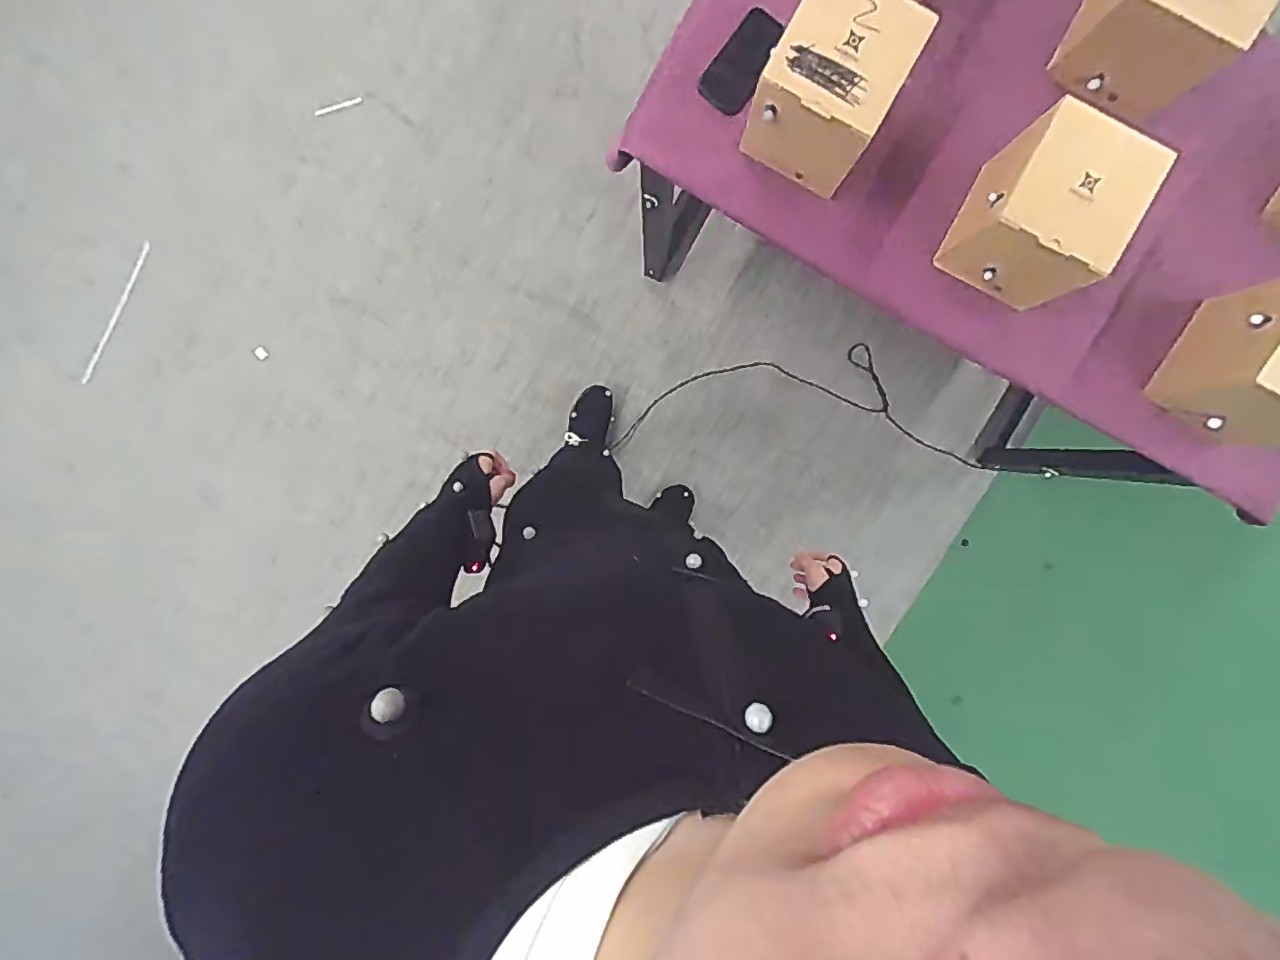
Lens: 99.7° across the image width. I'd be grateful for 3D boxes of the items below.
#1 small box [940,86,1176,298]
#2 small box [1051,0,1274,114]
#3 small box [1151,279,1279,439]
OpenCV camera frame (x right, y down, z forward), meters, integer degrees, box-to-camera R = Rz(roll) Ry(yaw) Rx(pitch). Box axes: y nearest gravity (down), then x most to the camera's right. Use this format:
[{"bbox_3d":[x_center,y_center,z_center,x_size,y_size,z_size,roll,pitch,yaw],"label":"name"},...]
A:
[{"bbox_3d":[0.570,-0.389,0.767,0.168,0.176,0.179,28,94,-1],"label":"small box"},{"bbox_3d":[0.727,-0.665,0.743,0.168,0.176,0.179,29,95,0],"label":"small box"},{"bbox_3d":[0.908,-0.174,0.773,0.168,0.176,0.179,32,94,0],"label":"small box"}]
